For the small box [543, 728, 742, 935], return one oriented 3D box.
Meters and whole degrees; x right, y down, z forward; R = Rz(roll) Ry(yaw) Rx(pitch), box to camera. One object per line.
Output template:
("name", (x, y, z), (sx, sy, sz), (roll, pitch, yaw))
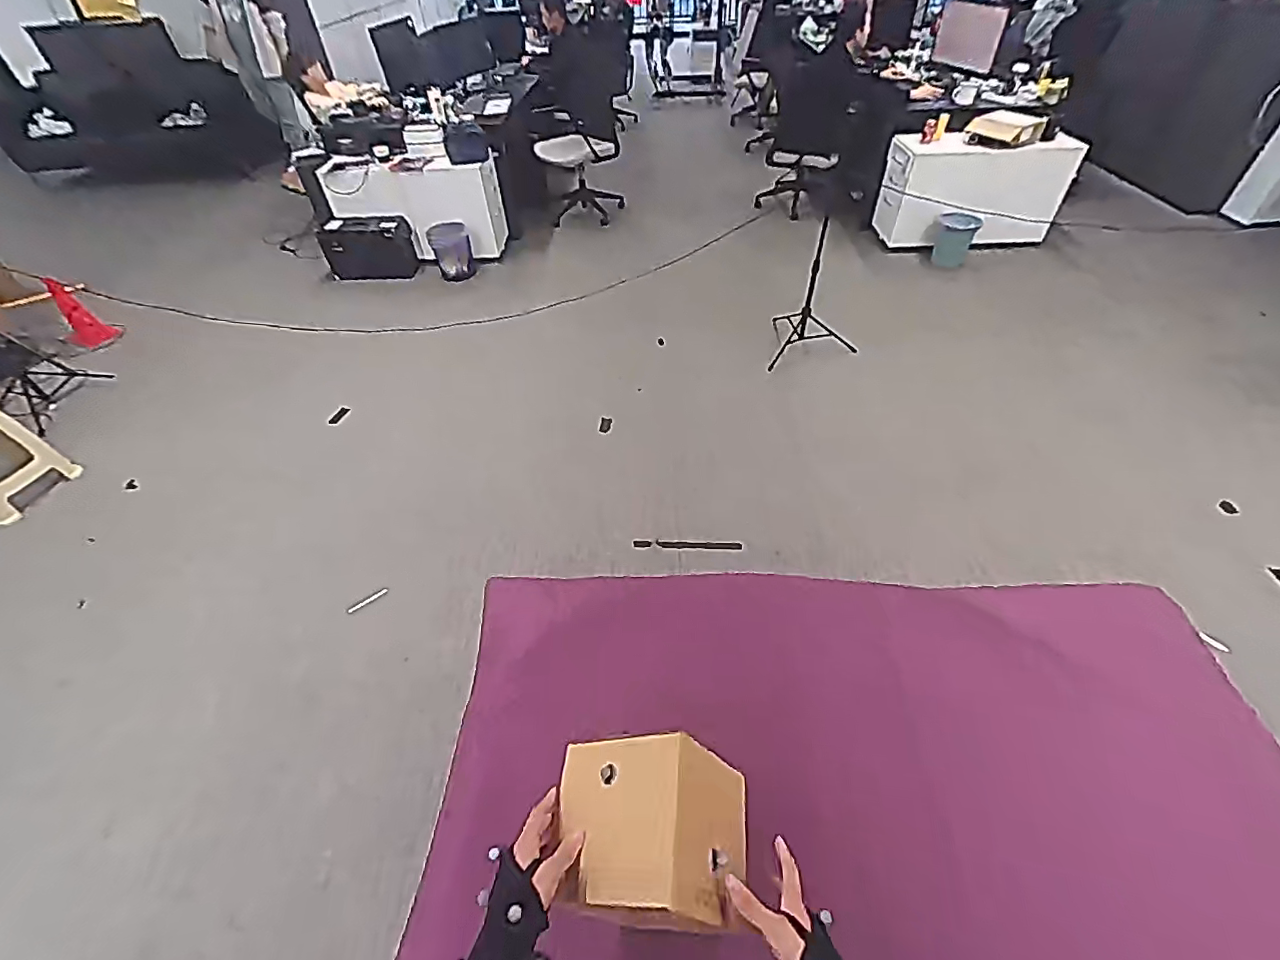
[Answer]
("small box", (0.008, 0.423, 0.650), (0.179, 0.168, 0.176), (-22, 39, 28))
